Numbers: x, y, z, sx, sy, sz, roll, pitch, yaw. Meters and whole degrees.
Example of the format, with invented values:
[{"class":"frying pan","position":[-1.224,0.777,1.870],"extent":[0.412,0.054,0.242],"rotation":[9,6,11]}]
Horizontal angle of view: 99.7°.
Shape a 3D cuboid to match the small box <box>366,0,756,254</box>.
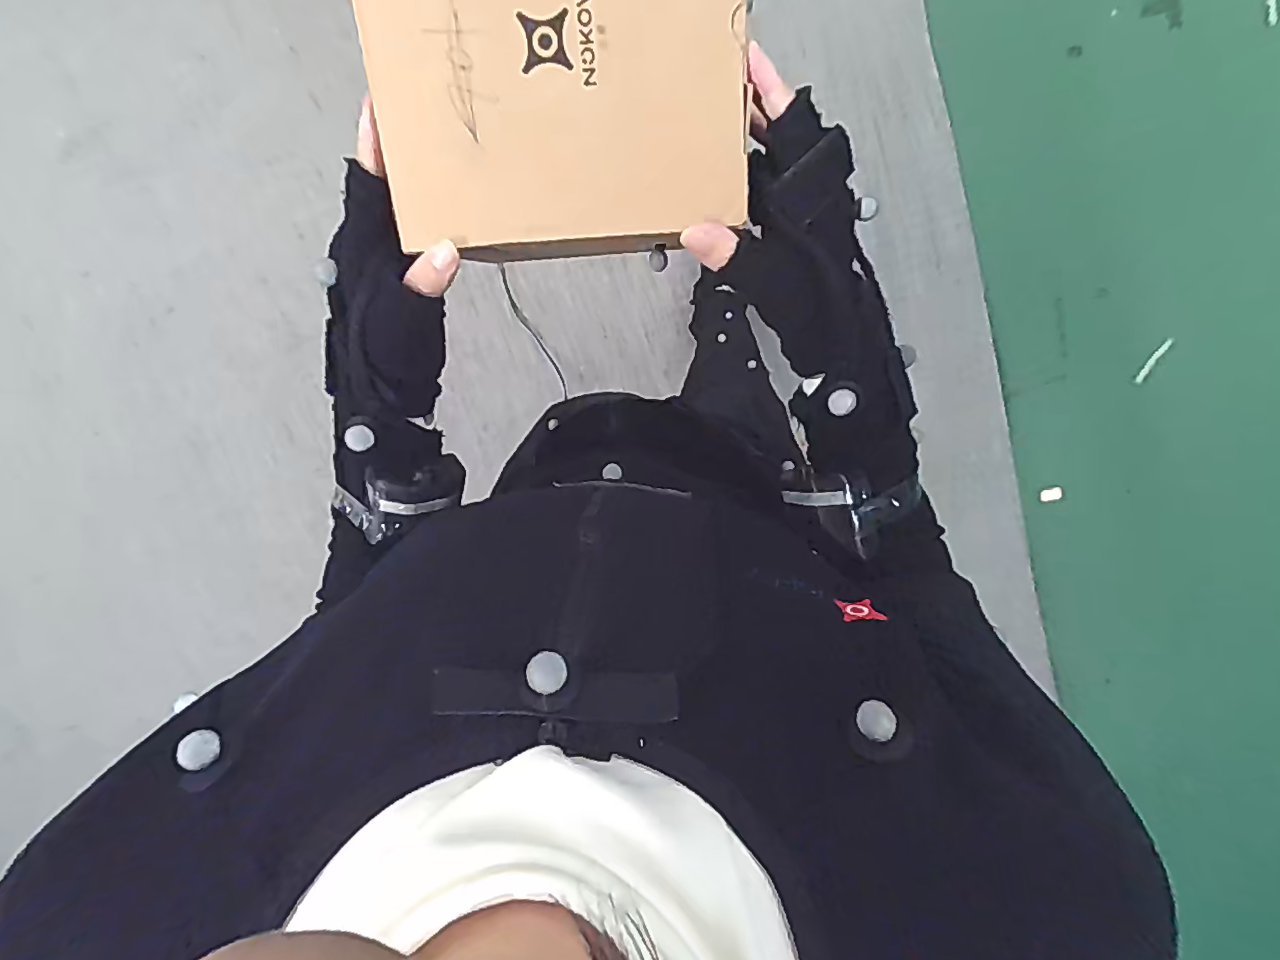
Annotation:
[{"class":"small box","position":[-0.035,-0.234,0.321],"extent":[0.179,0.176,0.168],"rotation":[-5,109,3]}]
